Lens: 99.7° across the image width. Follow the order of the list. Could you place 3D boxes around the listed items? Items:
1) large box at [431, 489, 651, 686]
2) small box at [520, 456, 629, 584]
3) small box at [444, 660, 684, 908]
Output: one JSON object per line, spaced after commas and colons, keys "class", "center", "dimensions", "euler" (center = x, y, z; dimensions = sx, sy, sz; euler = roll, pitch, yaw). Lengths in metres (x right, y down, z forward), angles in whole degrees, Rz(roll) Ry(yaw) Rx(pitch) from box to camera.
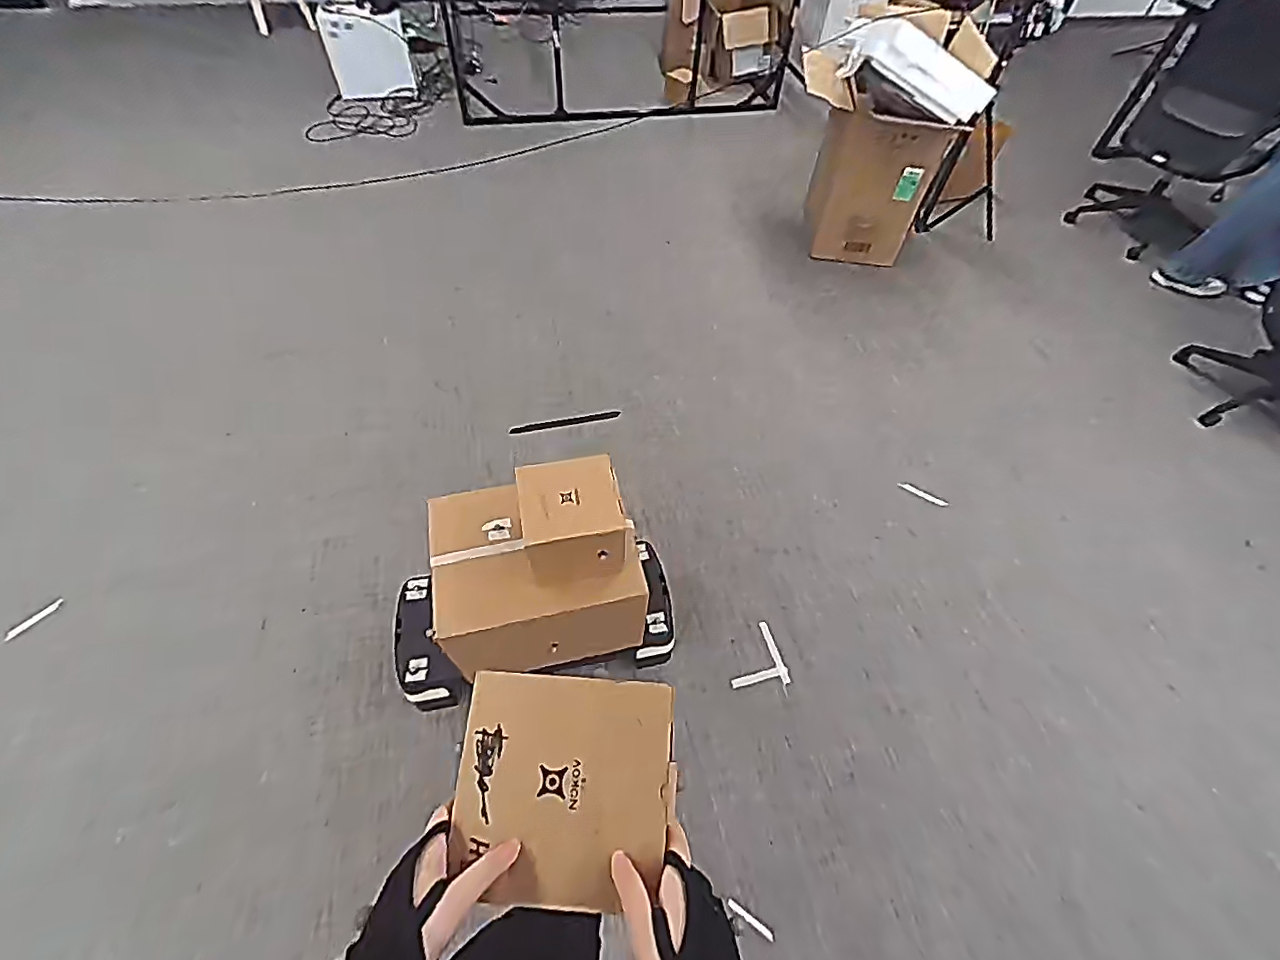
{"class": "large box", "center": [-0.211, 0.224, 1.204], "dimensions": [0.408, 0.320, 0.320], "euler": [-11, 55, -9]}
{"class": "small box", "center": [-0.122, 0.078, 1.010], "dimensions": [0.179, 0.176, 0.168], "euler": [-9, 56, -8]}
{"class": "small box", "center": [-0.055, 0.269, 0.507], "dimensions": [0.179, 0.176, 0.168], "euler": [3, 65, 3]}
